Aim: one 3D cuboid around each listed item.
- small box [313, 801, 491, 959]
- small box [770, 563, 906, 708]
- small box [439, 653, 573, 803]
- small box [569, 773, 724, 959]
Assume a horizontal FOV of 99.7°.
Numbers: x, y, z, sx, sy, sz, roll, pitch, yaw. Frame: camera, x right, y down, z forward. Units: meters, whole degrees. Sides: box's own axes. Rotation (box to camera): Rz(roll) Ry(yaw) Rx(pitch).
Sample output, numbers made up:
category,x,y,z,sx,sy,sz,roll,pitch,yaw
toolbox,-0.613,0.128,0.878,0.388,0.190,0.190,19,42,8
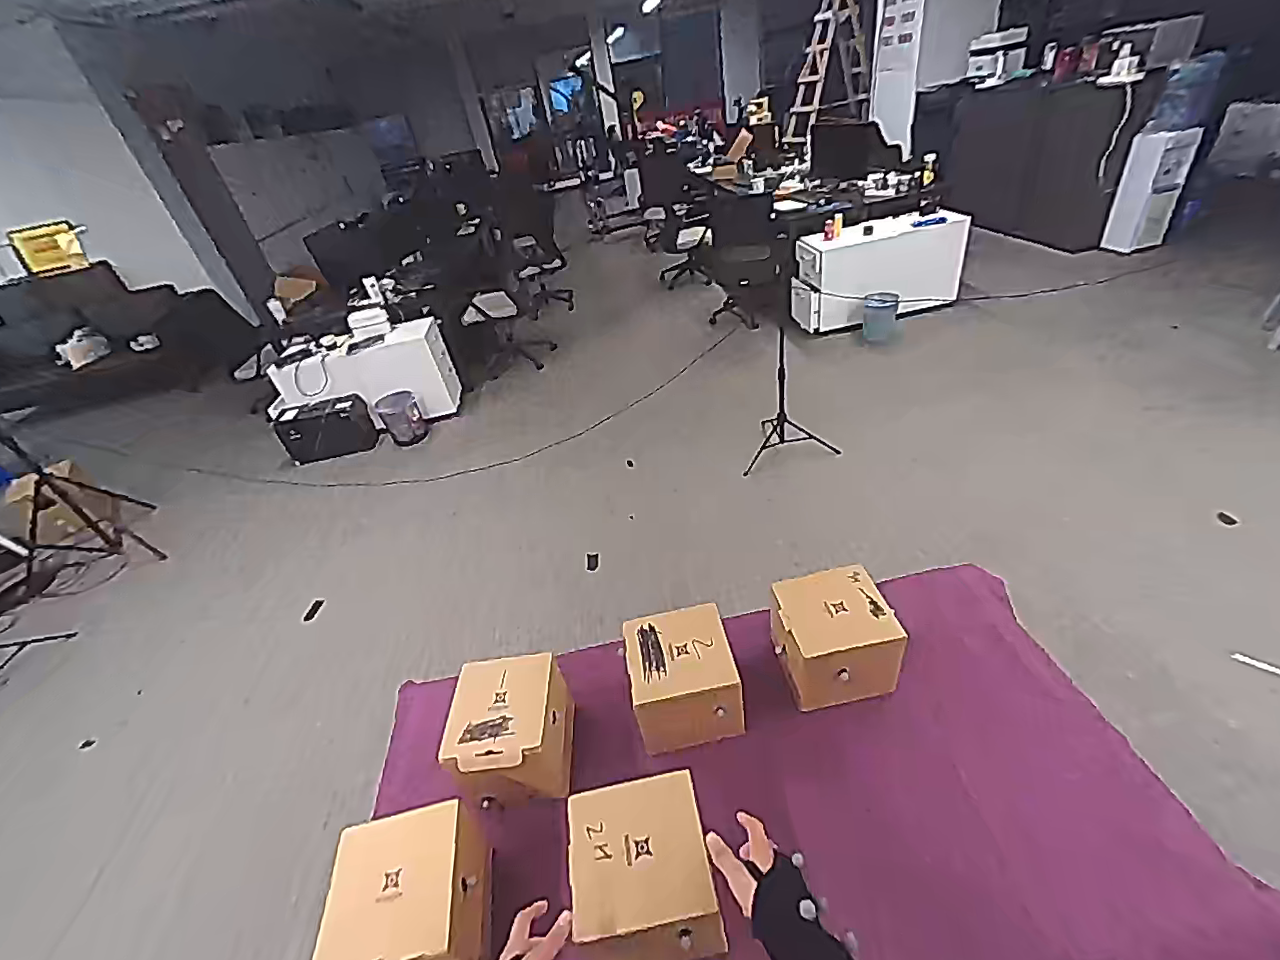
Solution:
category,x,y,z,sx,sy,sz,roll,pitch,yaw
small box,-0.307,0.583,0.736,0.168,0.176,0.179,-13,36,-5
small box,0.344,0.280,0.966,0.179,0.176,0.168,-13,38,0
small box,-0.215,0.428,0.925,0.168,0.176,0.179,-8,36,4
small box,0.010,0.529,0.724,0.179,0.176,0.168,-13,36,-1
